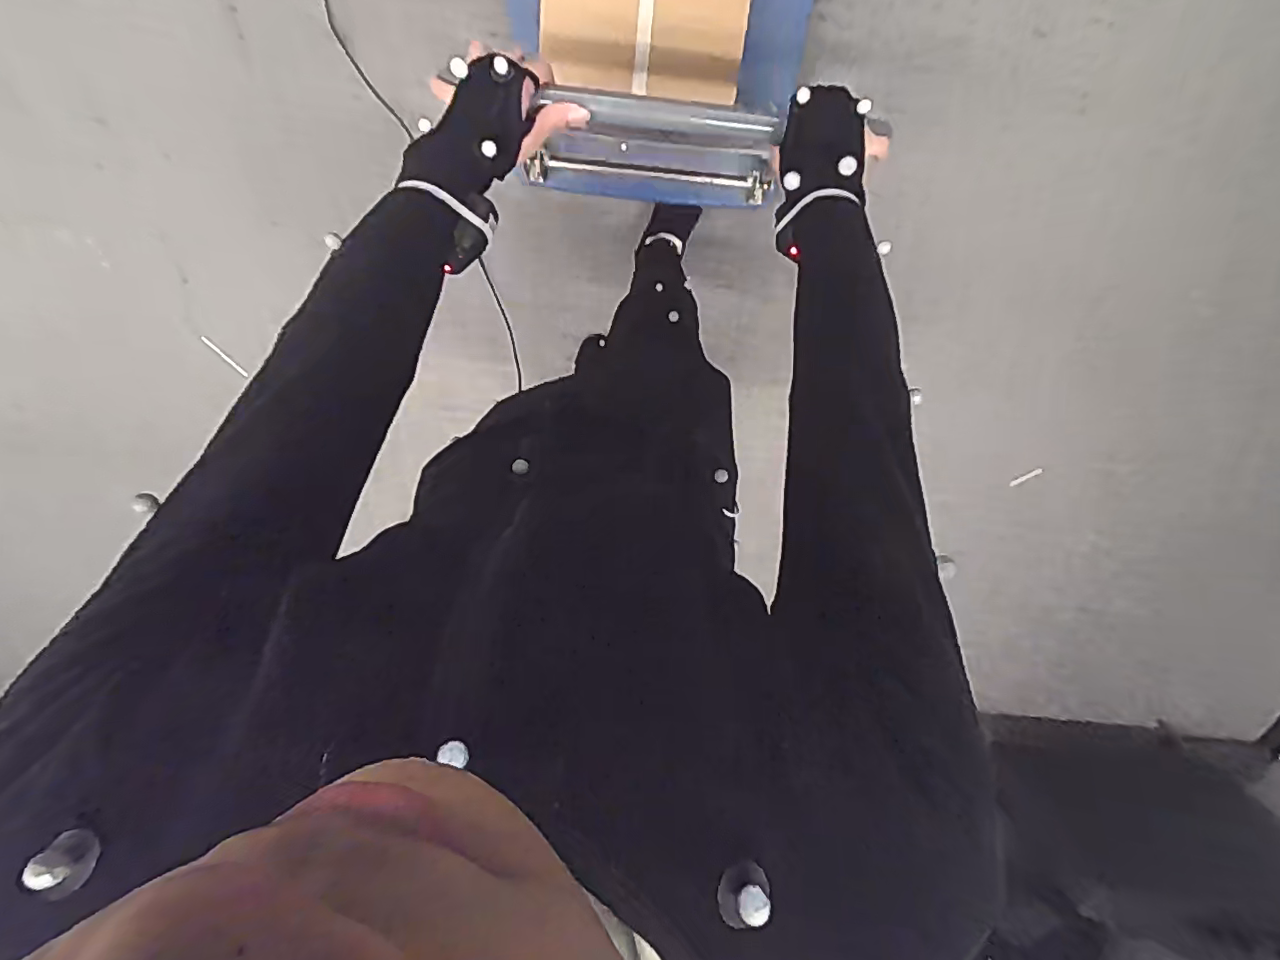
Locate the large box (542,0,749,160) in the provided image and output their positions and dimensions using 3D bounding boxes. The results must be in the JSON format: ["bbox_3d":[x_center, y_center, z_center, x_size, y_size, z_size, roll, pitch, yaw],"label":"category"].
[{"bbox_3d":[0.012,-0.812,0.935,0.320,0.320,0.408,5,114,-3],"label":"large box"}]
